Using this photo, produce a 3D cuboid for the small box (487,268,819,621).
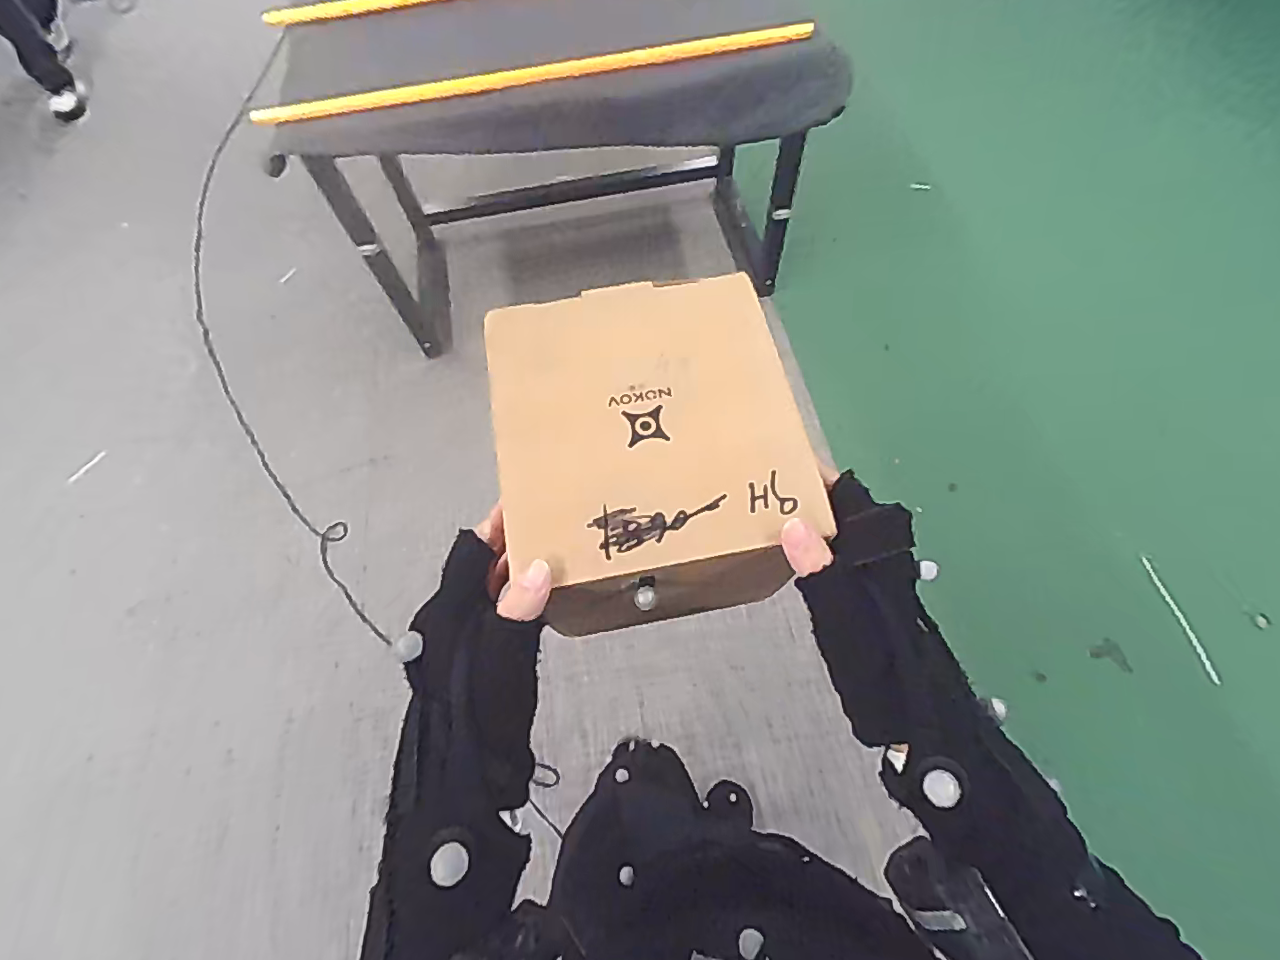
[{"bbox_3d":[-0.001,-0.013,0.380,0.168,0.176,0.179,-10,67,-3],"label":"small box"}]
